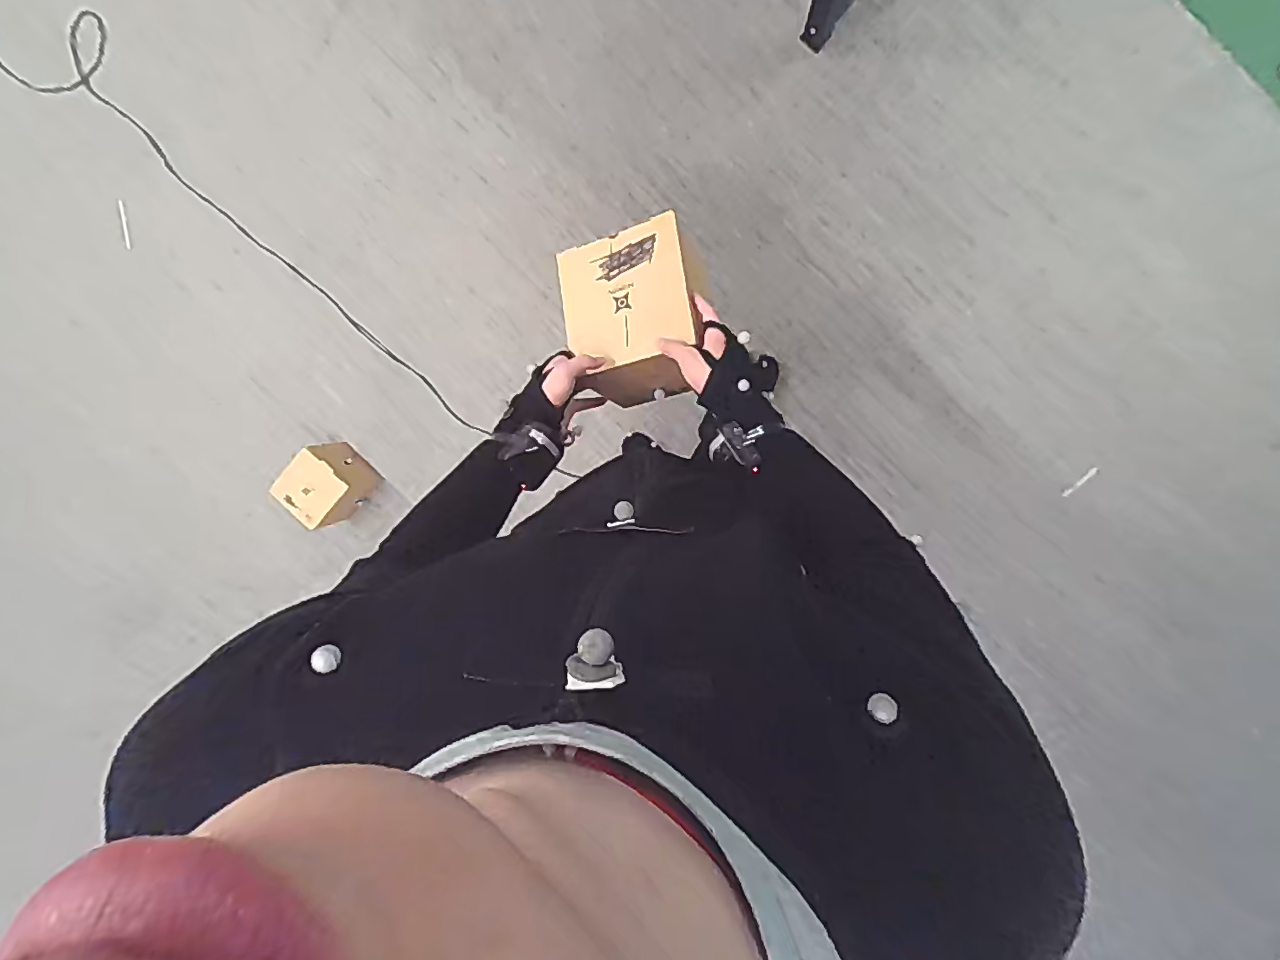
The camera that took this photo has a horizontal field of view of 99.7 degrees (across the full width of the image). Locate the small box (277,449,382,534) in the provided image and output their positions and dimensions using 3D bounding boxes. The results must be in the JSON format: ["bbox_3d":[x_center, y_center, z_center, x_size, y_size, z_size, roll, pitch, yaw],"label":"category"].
[{"bbox_3d":[-0.884,0.026,1.565,0.168,0.176,0.179,44,99,-1],"label":"small box"}]

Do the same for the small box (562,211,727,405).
[{"bbox_3d":[0.012,-0.220,0.740,0.168,0.176,0.179,-12,79,20],"label":"small box"}]
